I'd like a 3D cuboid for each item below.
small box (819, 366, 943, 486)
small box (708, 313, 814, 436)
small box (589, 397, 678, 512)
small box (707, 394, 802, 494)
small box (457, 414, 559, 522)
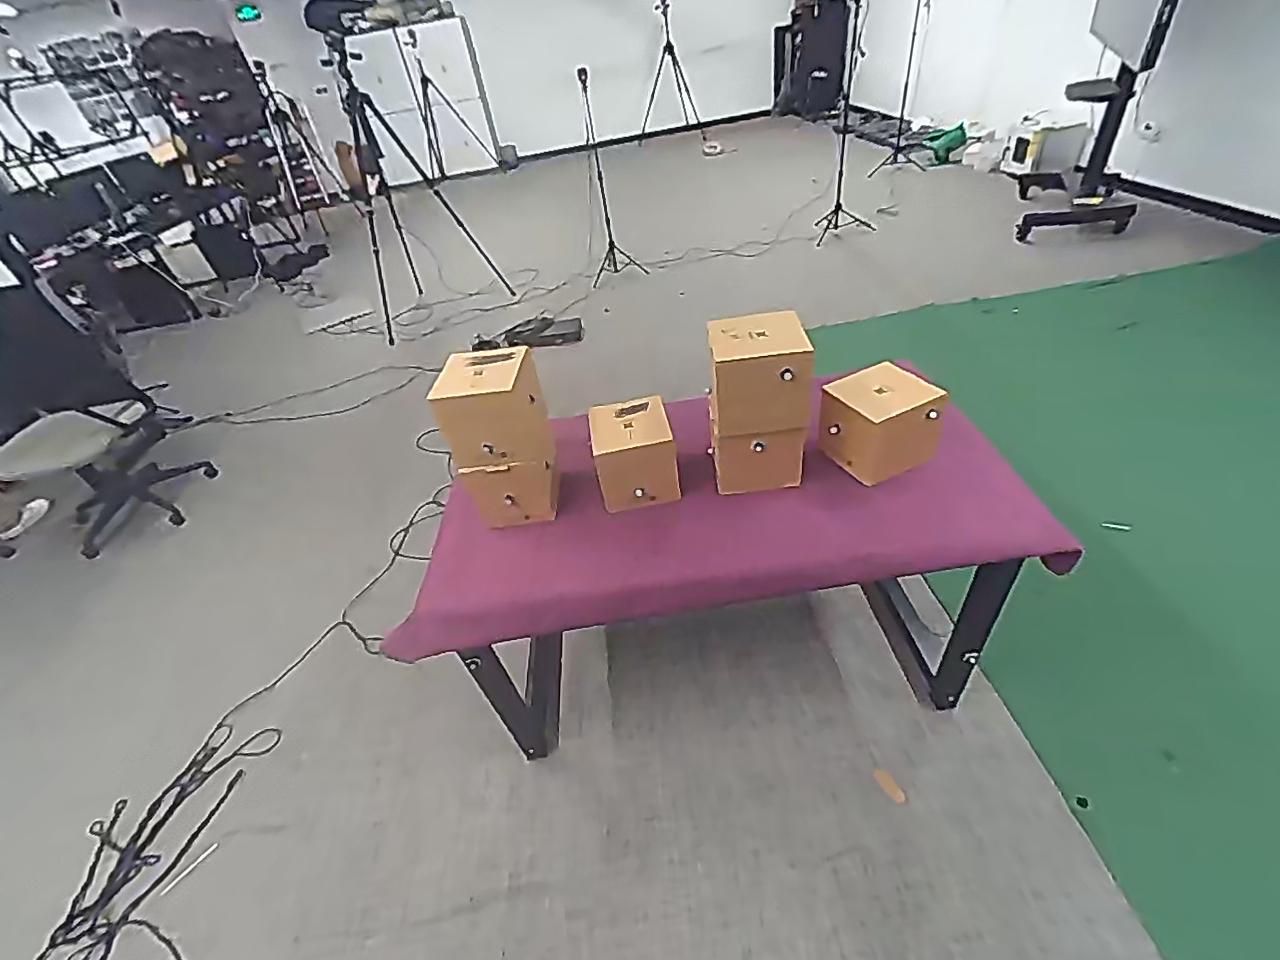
[{"bbox_3d":[0.499,-0.112,1.146,0.179,0.176,0.168,-21,41,-13],"label":"small box"},{"bbox_3d":[0.227,-0.203,1.053,0.179,0.176,0.168,-5,40,6],"label":"small box"},{"bbox_3d":[-0.015,-0.056,1.182,0.168,0.176,0.179,-11,40,-1],"label":"small box"},{"bbox_3d":[0.243,-0.084,1.165,0.179,0.176,0.168,-5,41,5],"label":"small box"},{"bbox_3d":[-0.281,-0.020,1.194,0.168,0.176,0.179,-7,41,3],"label":"small box"}]
